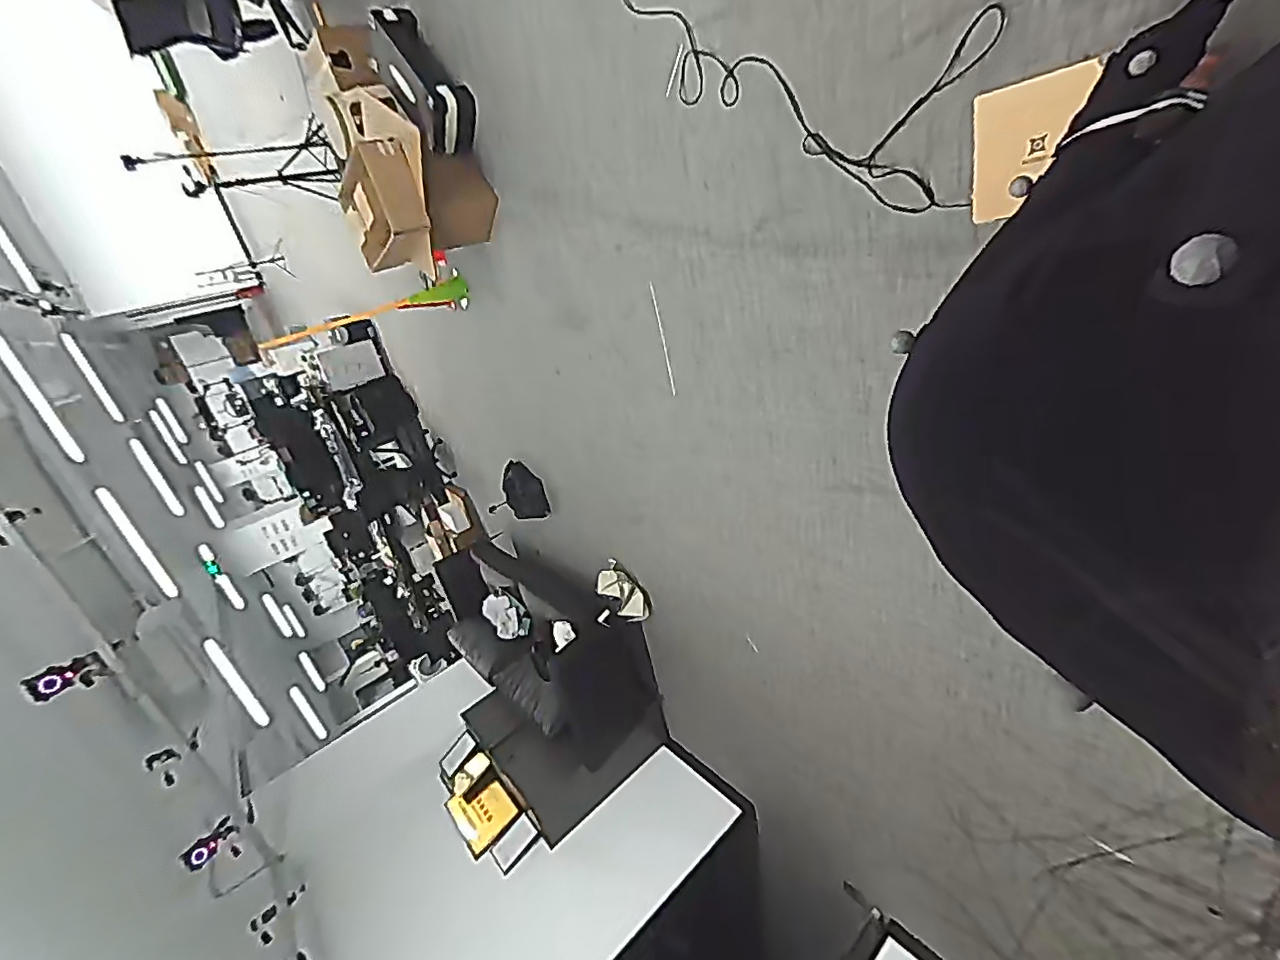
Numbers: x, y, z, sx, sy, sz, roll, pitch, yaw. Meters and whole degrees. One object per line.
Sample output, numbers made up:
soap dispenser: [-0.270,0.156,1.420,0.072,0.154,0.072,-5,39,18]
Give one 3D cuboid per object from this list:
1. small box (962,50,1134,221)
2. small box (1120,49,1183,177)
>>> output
small box: [0.605,-0.509,0.808,0.168,0.176,0.179,16,130,48]
small box: [0.845,-0.650,0.982,0.168,0.176,0.179,20,131,47]
